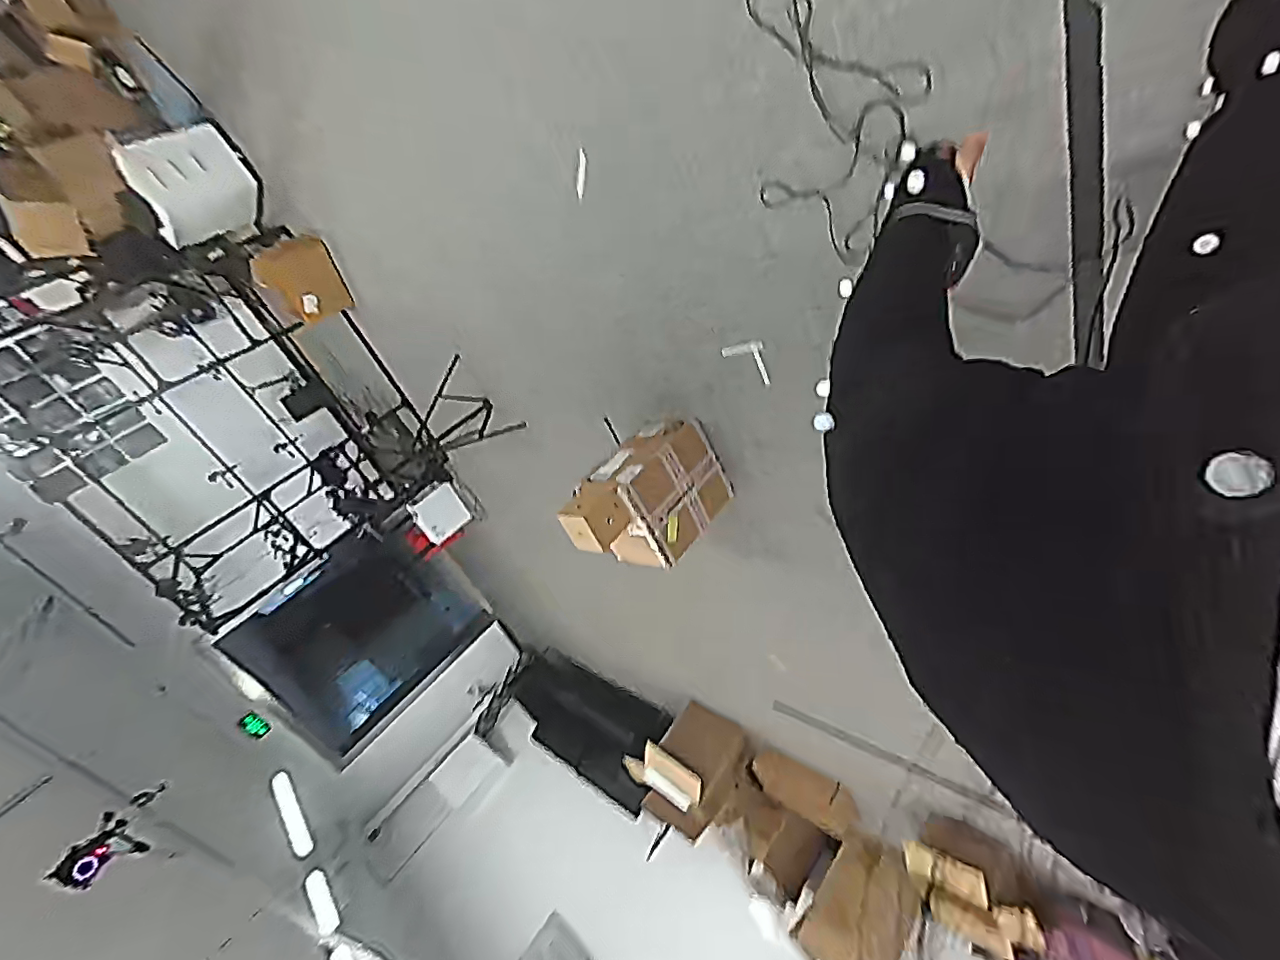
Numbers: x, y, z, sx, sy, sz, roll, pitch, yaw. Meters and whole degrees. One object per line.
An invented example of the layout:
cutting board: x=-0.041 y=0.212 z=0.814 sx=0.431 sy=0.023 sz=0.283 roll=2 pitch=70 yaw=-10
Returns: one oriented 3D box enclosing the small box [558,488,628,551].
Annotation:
small box: x=-0.169 y=0.143 z=2.027 sx=0.179 sy=0.176 sz=0.168 roll=0 pitch=125 yaw=48
